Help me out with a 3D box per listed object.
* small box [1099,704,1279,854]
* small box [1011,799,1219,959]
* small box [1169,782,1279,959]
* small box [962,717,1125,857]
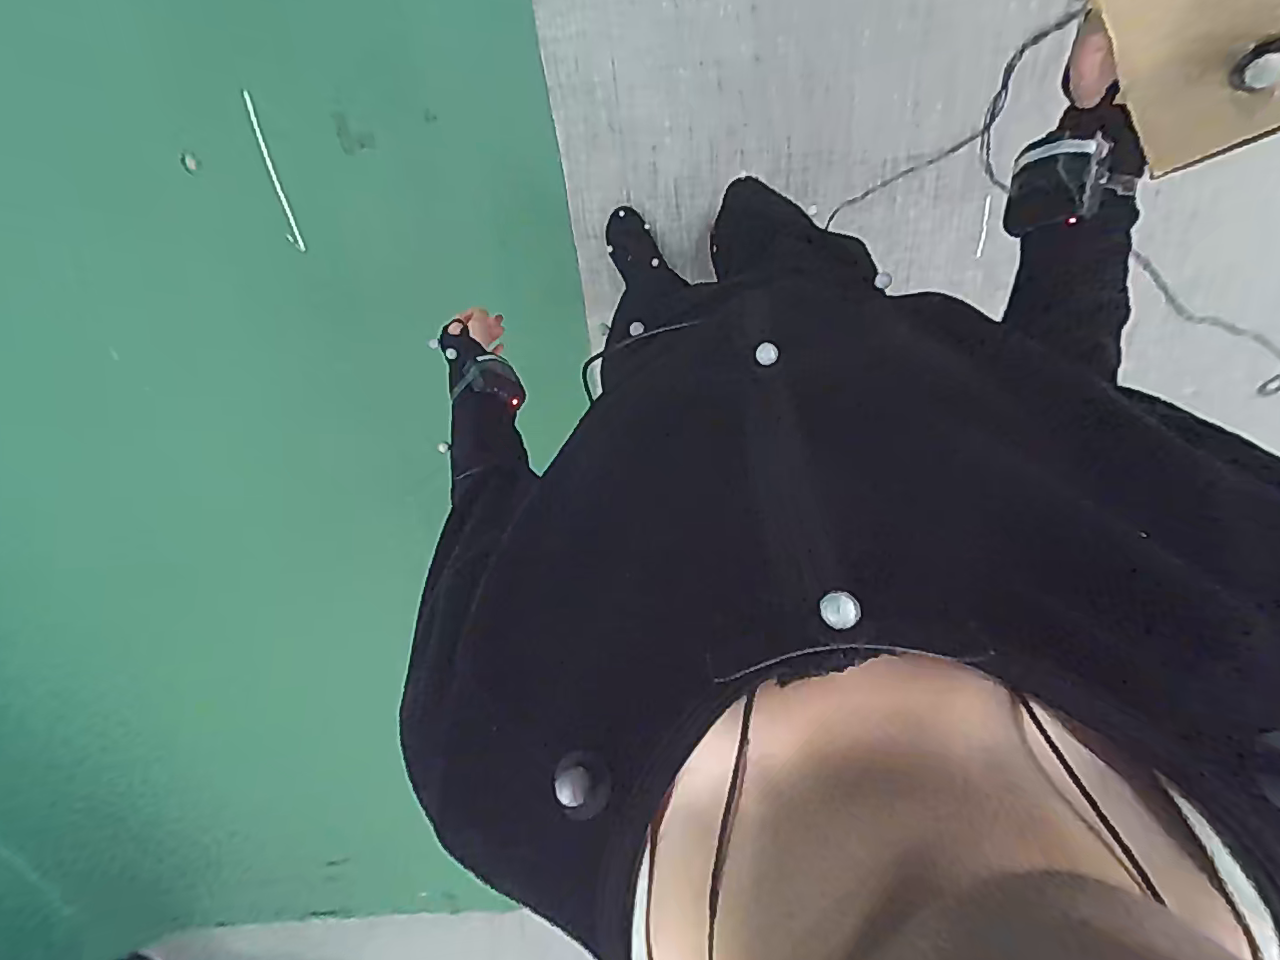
[{"bbox_3d":[1.030,0.560,1.024,0.179,0.176,0.168,-27,116,13],"label":"small box"},{"bbox_3d":[0.750,0.645,0.882,0.168,0.176,0.179,-5,120,0],"label":"small box"},{"bbox_3d":[1.033,0.626,0.872,0.179,0.176,0.168,-38,113,19],"label":"small box"},{"bbox_3d":[0.750,0.582,1.033,0.168,0.176,0.179,-5,119,0],"label":"small box"}]
